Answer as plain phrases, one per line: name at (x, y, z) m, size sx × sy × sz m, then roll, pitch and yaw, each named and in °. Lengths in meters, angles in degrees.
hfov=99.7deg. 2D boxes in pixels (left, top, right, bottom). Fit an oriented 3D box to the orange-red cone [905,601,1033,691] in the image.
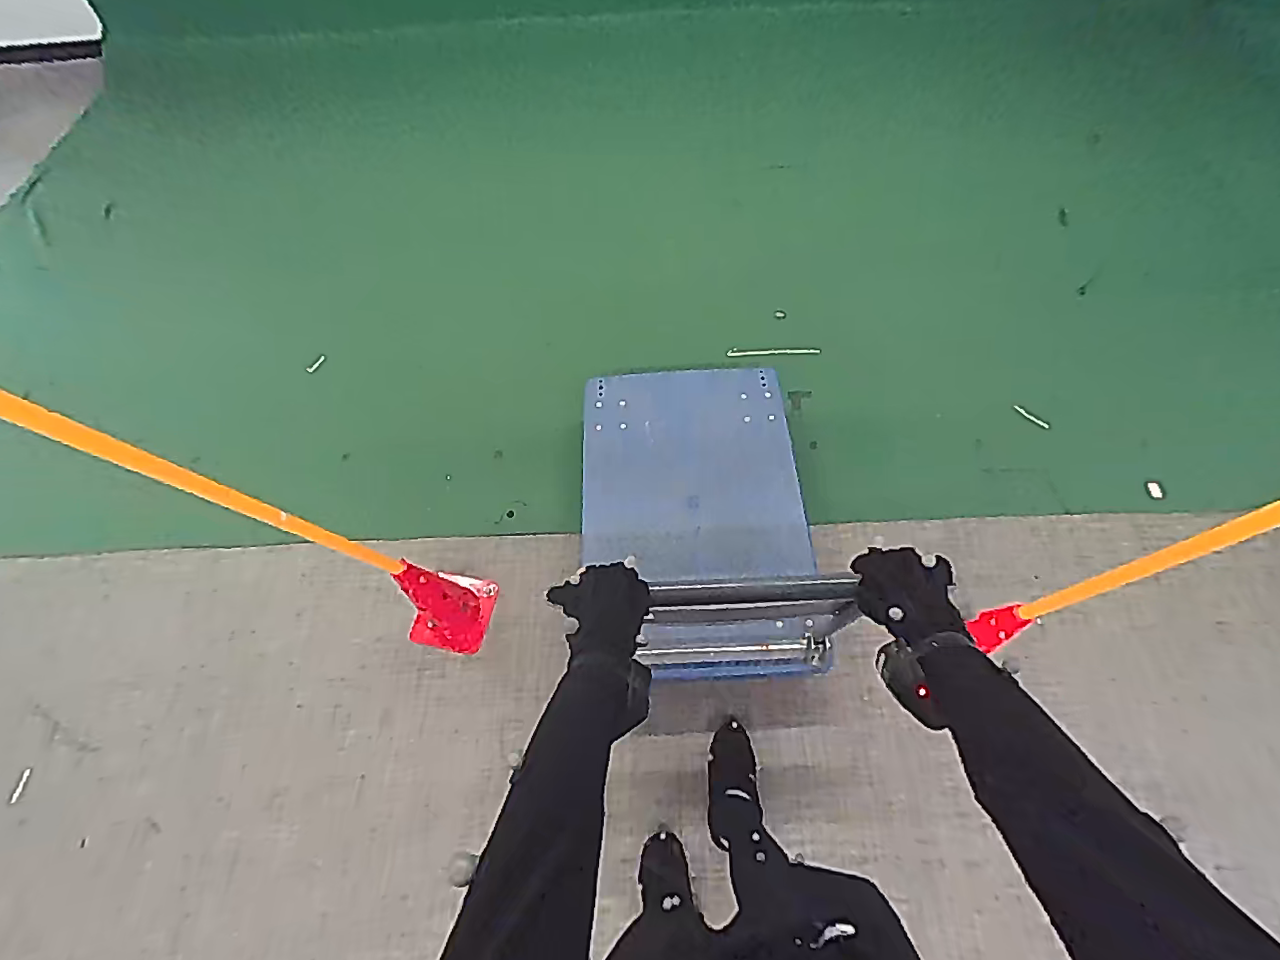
orange-red cone at (0.769, 0.341, 1.222) m, size 0.198 × 0.360 × 0.199 m, roll 7°, pitch 63°, yaw 8°
